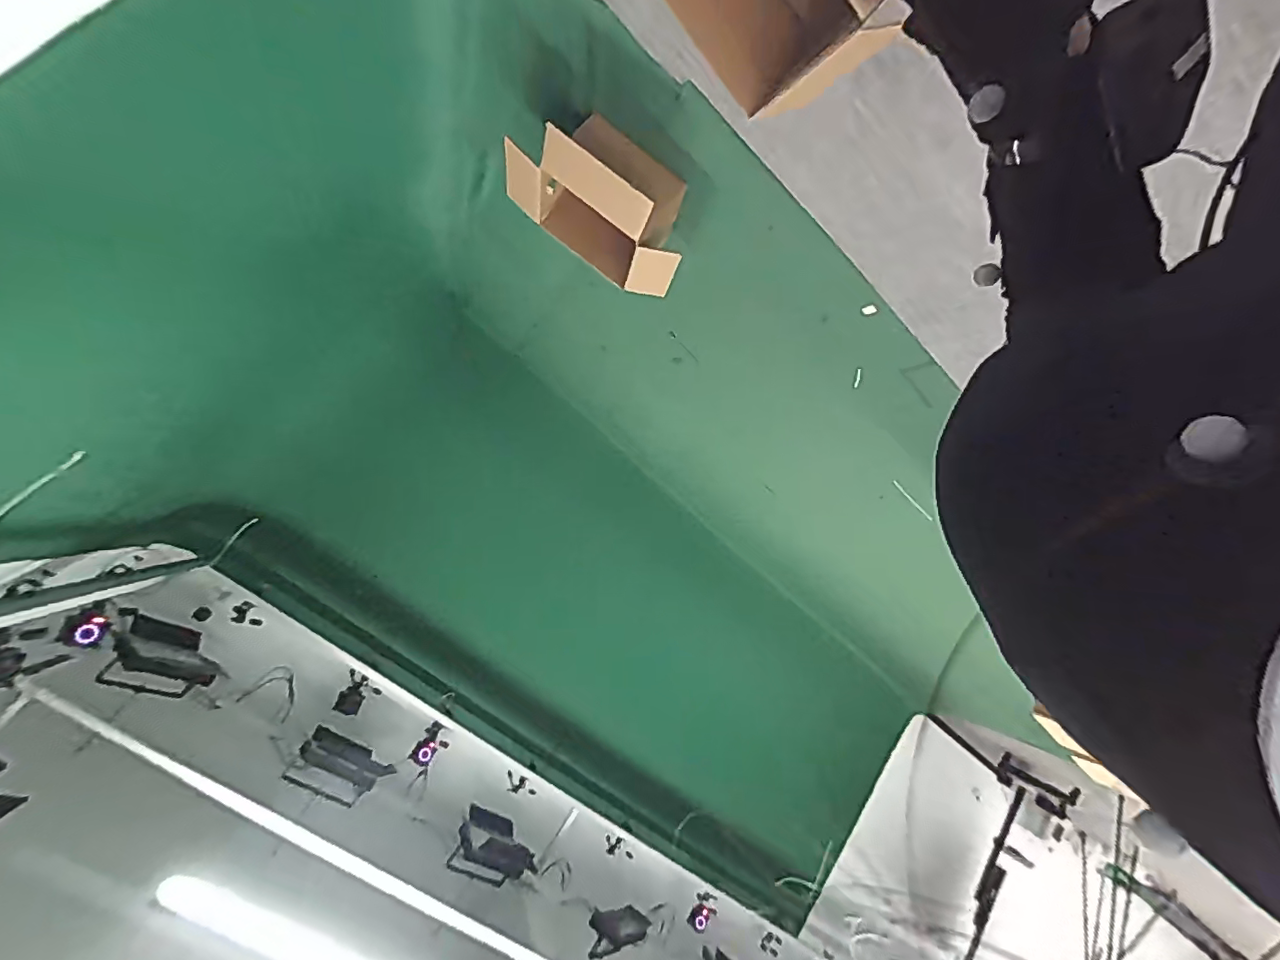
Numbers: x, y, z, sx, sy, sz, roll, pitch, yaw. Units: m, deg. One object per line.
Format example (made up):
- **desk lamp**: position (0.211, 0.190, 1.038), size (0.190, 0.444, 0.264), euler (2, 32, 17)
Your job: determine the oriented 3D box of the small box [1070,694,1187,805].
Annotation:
- **small box**: position (1.273, 0.691, 1.409), size (0.179, 0.176, 0.168), euler (43, 164, -22)
